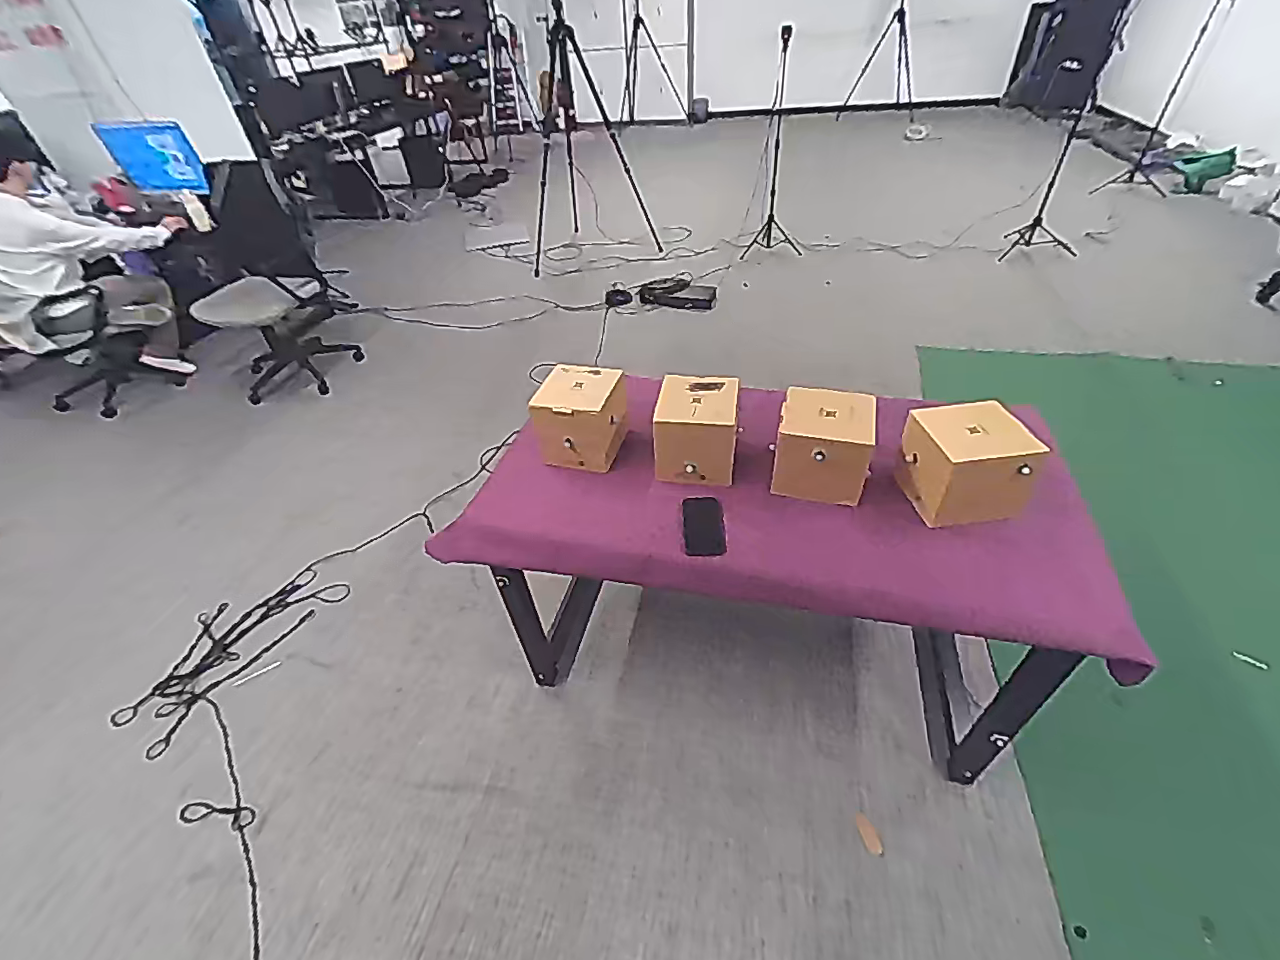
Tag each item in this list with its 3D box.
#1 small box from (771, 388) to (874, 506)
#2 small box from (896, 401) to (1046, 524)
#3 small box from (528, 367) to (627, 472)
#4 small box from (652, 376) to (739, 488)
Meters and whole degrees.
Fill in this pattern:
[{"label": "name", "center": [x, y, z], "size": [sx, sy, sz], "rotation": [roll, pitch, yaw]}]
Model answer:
[{"label": "small box", "center": [0.372, -0.067, 1.112], "size": [0.179, 0.176, 0.168], "rotation": [10, 45, 16]}, {"label": "small box", "center": [0.618, -0.030, 1.043], "size": [0.179, 0.176, 0.168], "rotation": [-7, 41, -2]}, {"label": "small box", "center": [-0.134, -0.140, 1.246], "size": [0.168, 0.176, 0.179], "rotation": [8, 44, 15]}, {"label": "small box", "center": [0.124, -0.107, 1.181], "size": [0.168, 0.176, 0.179], "rotation": [4, 43, 11]}]
